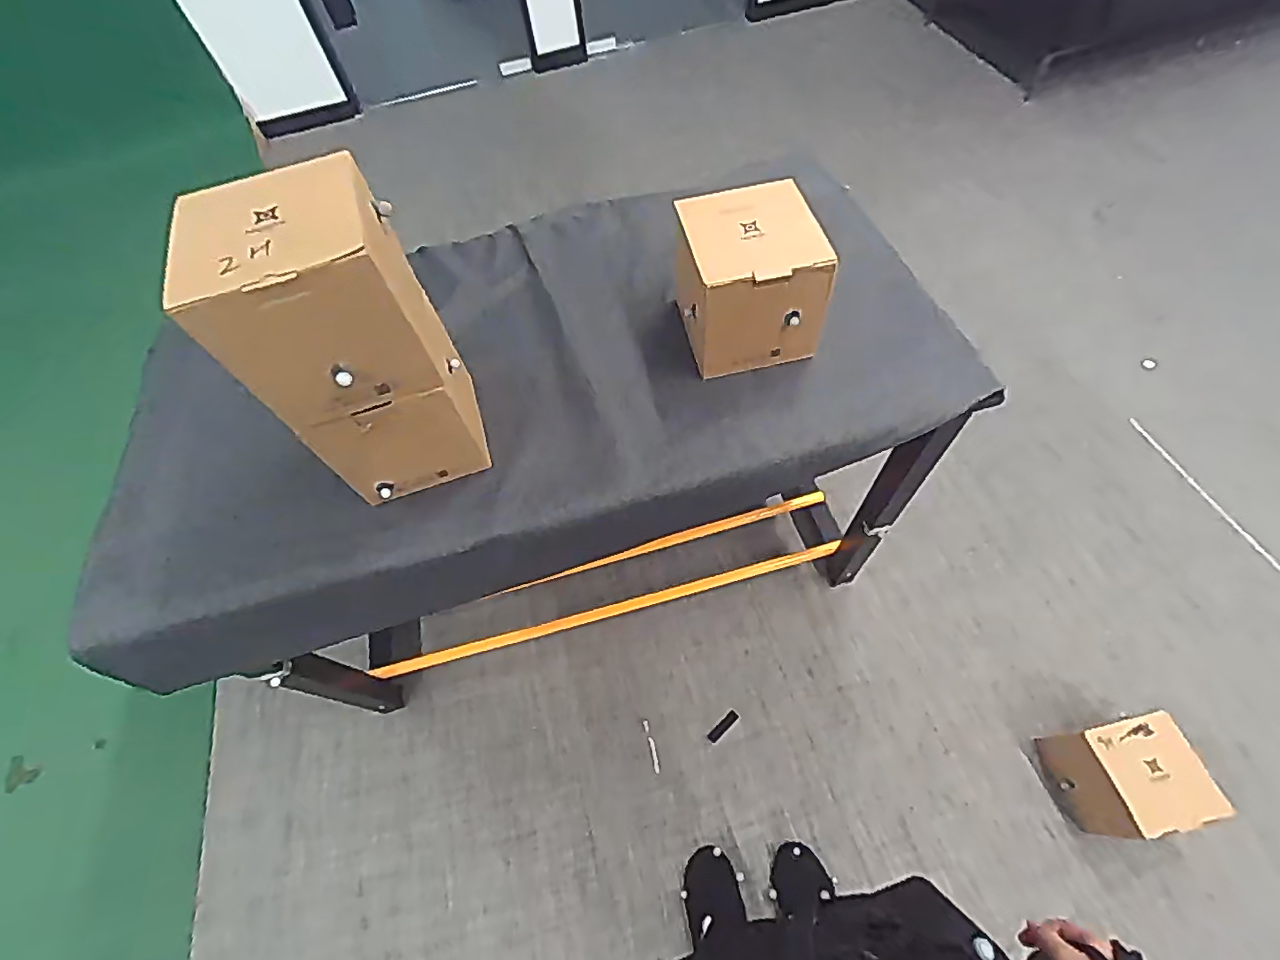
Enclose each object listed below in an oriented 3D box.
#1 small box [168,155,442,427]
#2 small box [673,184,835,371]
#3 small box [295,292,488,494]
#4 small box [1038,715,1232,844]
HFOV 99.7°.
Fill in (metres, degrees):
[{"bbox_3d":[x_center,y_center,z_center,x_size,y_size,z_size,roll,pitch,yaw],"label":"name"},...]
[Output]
[{"bbox_3d":[-0.323,-0.186,0.552,0.168,0.176,0.179,-21,60,-6],"label":"small box"},{"bbox_3d":[0.145,-0.269,0.748,0.168,0.176,0.179,-11,58,-2],"label":"small box"},{"bbox_3d":[-0.308,-0.101,0.692,0.168,0.176,0.179,-19,58,-6],"label":"small box"},{"bbox_3d":[0.918,0.561,1.025,0.168,0.176,0.179,-13,60,-2],"label":"small box"}]
